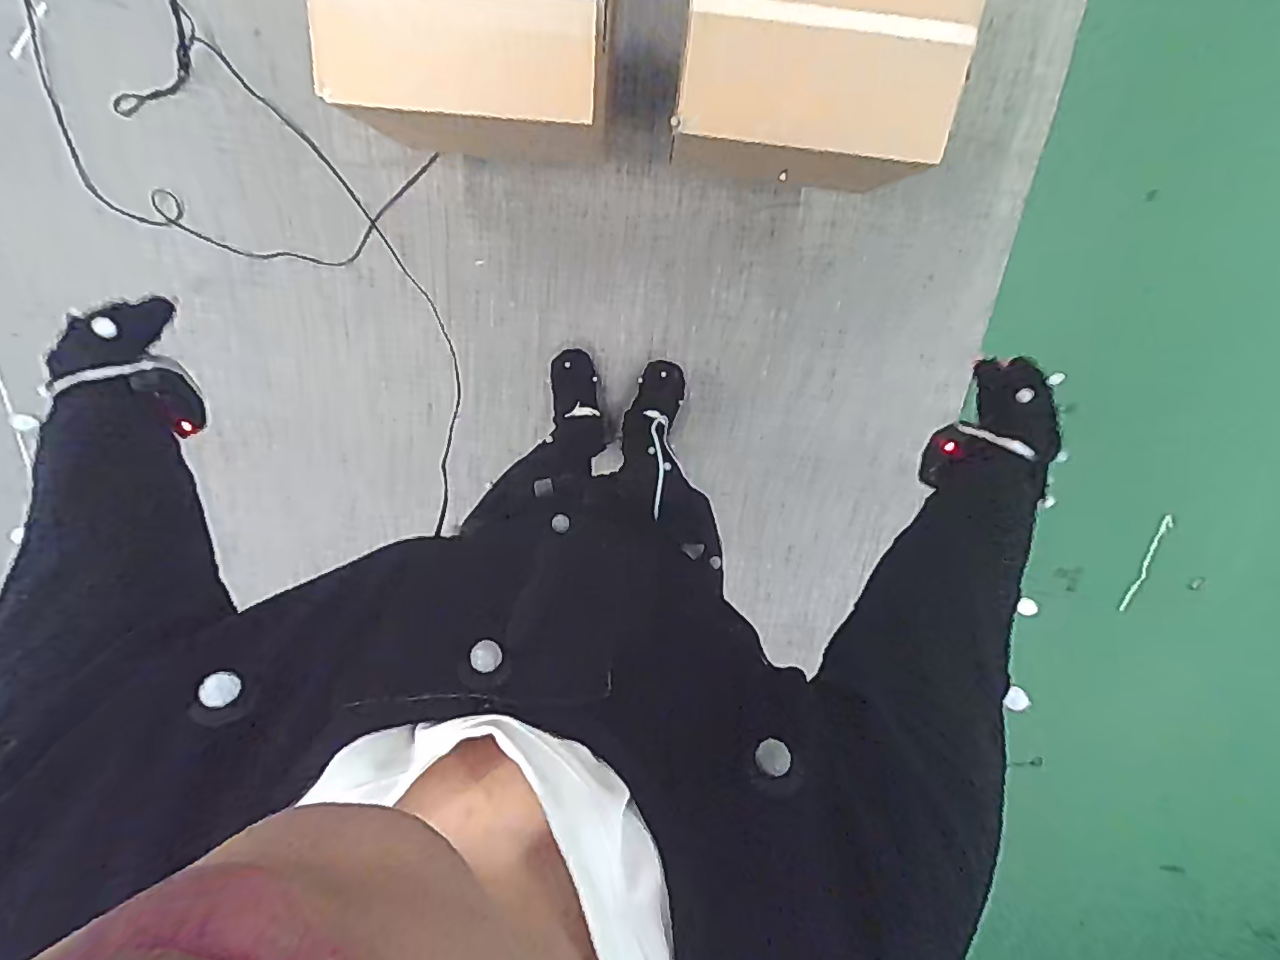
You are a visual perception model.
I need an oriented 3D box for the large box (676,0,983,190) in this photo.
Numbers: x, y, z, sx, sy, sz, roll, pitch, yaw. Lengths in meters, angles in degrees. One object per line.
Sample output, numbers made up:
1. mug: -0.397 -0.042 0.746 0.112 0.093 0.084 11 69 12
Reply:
1. large box: 0.282 -0.696 0.912 0.408 0.320 0.320 7 110 -1
